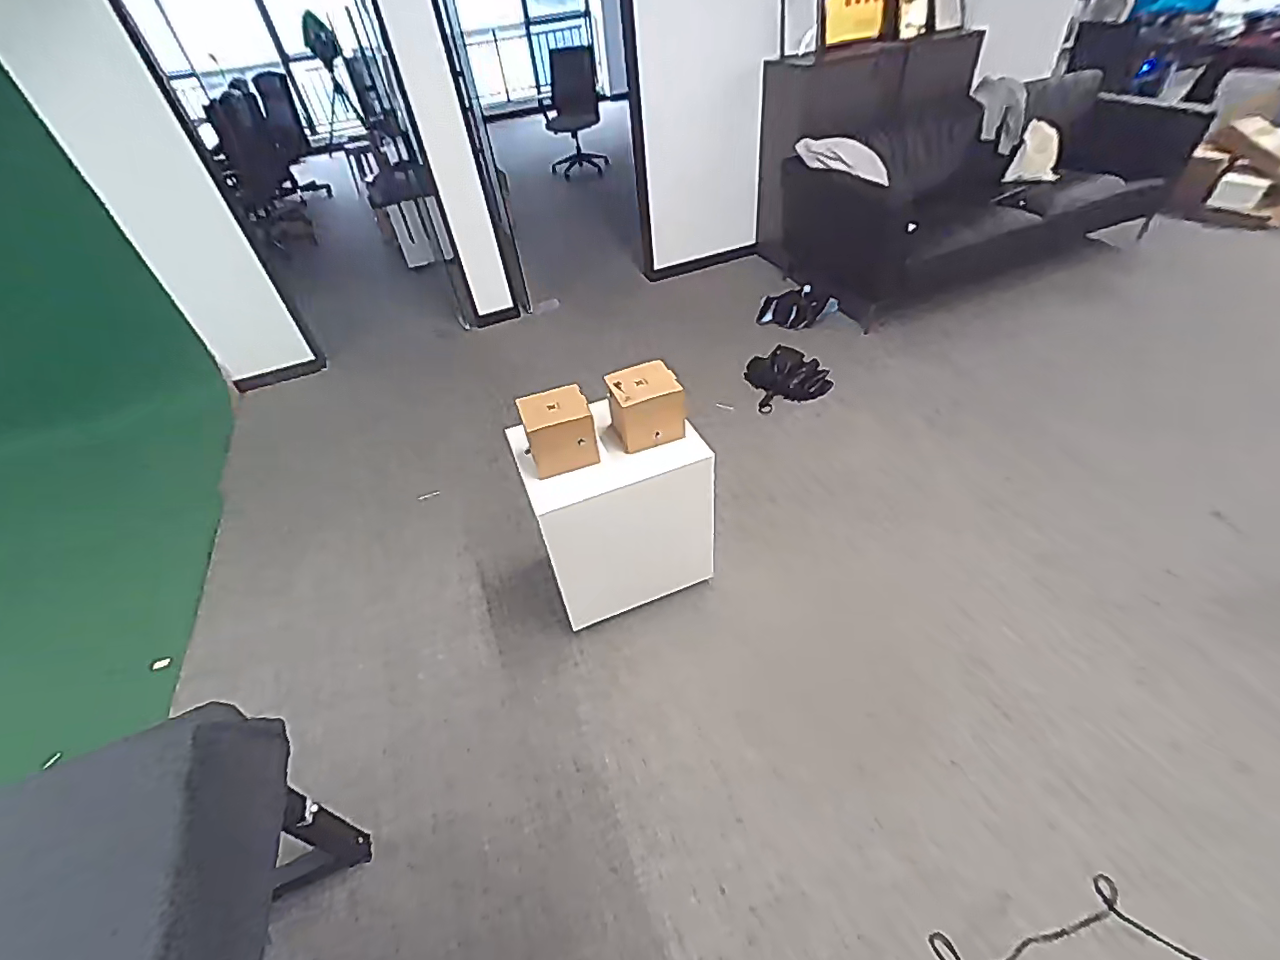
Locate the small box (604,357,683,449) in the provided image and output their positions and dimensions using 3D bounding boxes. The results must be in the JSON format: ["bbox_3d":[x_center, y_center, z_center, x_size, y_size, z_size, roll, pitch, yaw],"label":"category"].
[{"bbox_3d":[0.011,-0.214,1.509,0.179,0.176,0.168,-17,45,-12],"label":"small box"}]

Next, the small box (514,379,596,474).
[{"bbox_3d":[-0.224,-0.143,1.463,0.179,0.176,0.168,-18,44,-12],"label":"small box"}]
